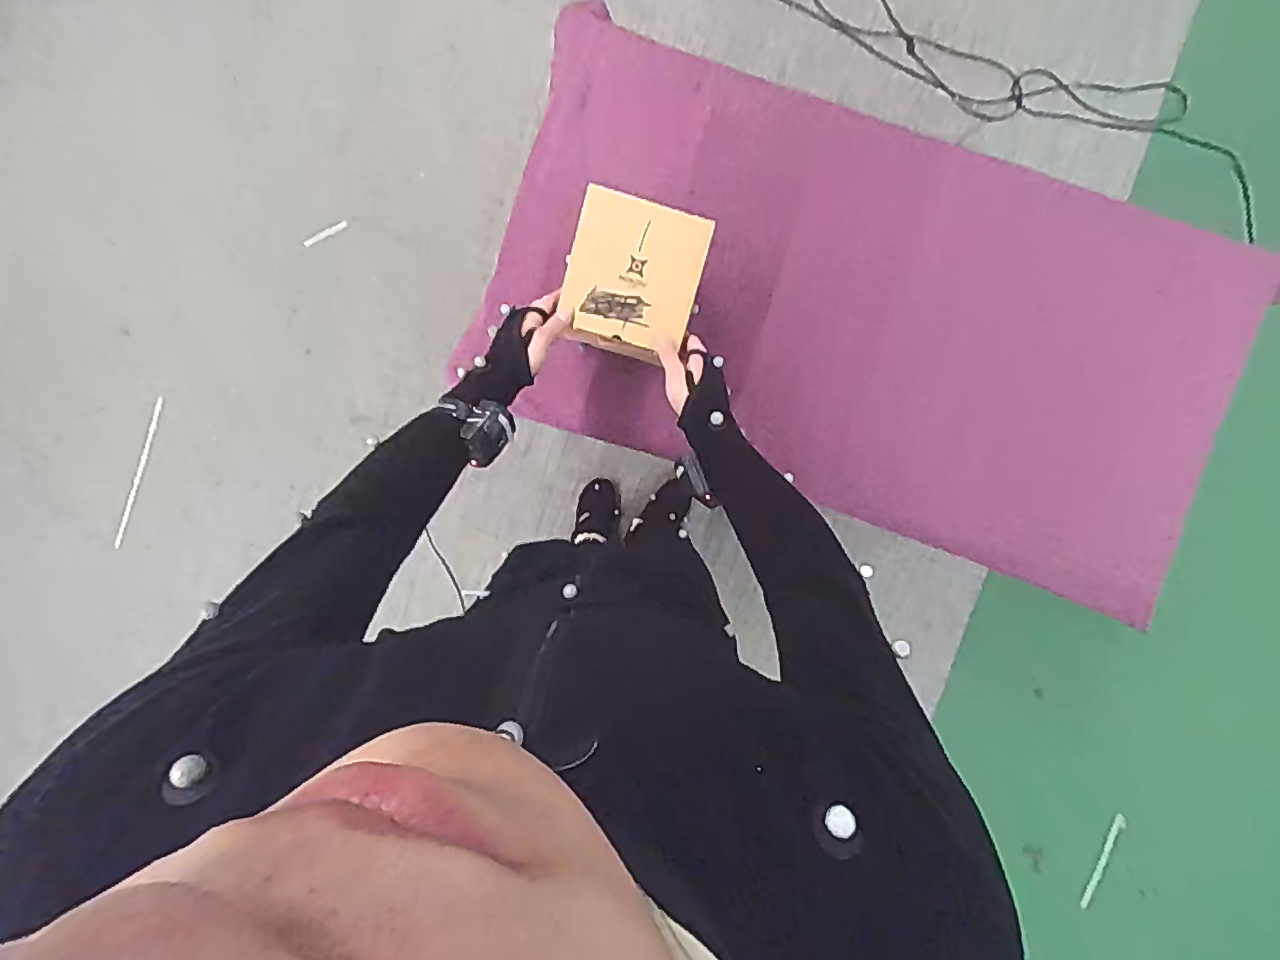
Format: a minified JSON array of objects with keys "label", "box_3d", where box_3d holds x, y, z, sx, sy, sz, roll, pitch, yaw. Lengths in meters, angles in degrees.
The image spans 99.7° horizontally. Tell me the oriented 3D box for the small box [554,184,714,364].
[{"label":"small box","box_3d":[-0.010,-0.270,0.755,0.168,0.176,0.179,16,96,-4]}]
